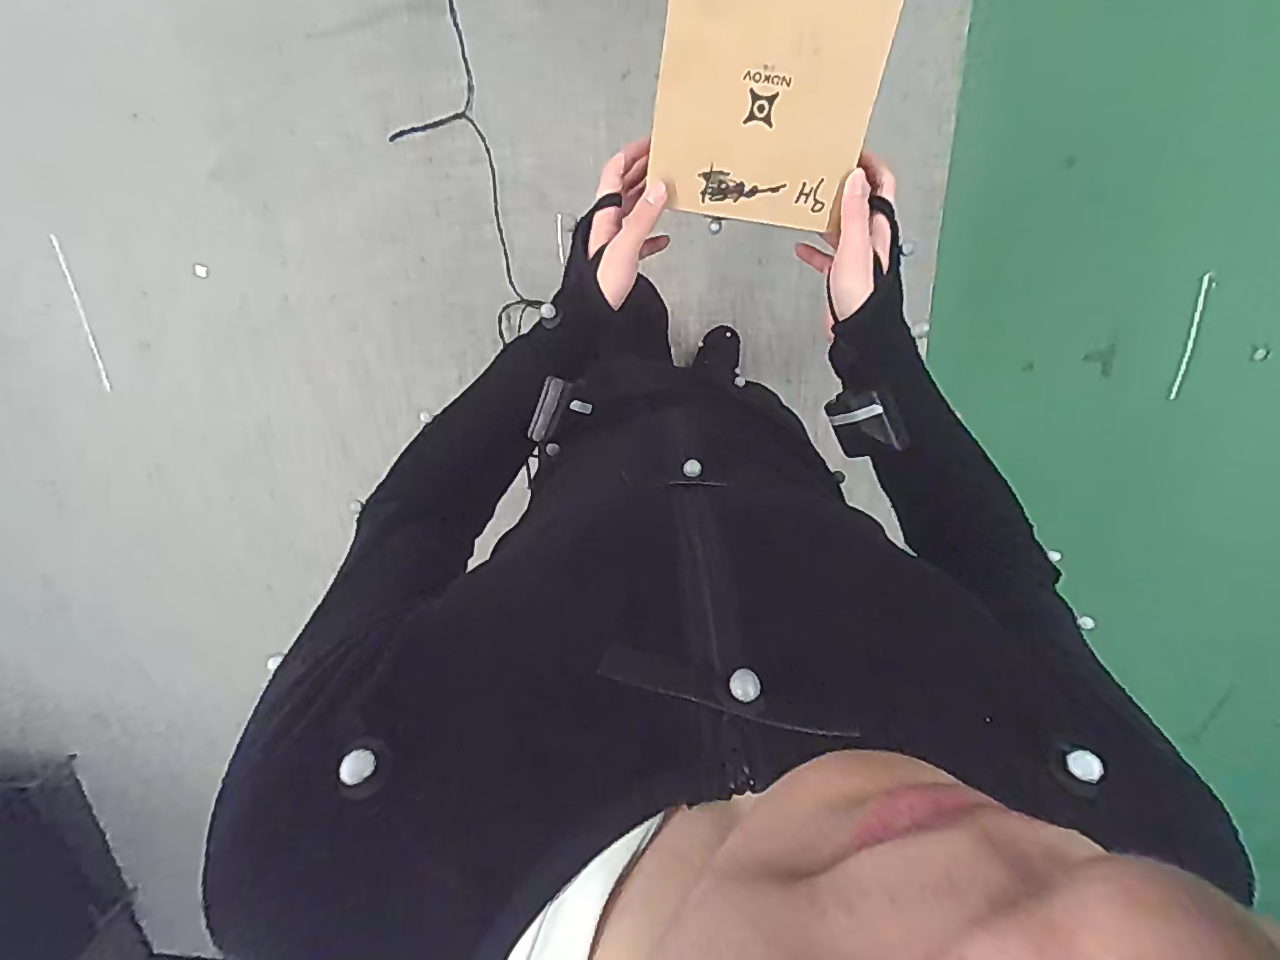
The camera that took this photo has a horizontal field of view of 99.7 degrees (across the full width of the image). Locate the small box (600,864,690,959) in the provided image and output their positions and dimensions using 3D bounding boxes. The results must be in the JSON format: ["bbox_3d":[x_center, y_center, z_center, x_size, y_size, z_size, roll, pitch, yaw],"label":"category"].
[{"bbox_3d":[0.013,0.919,1.082,0.168,0.176,0.179,3,108,4],"label":"small box"}]

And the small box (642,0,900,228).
[{"bbox_3d":[0.098,-0.334,0.475,0.168,0.176,0.179,9,119,0],"label":"small box"}]
